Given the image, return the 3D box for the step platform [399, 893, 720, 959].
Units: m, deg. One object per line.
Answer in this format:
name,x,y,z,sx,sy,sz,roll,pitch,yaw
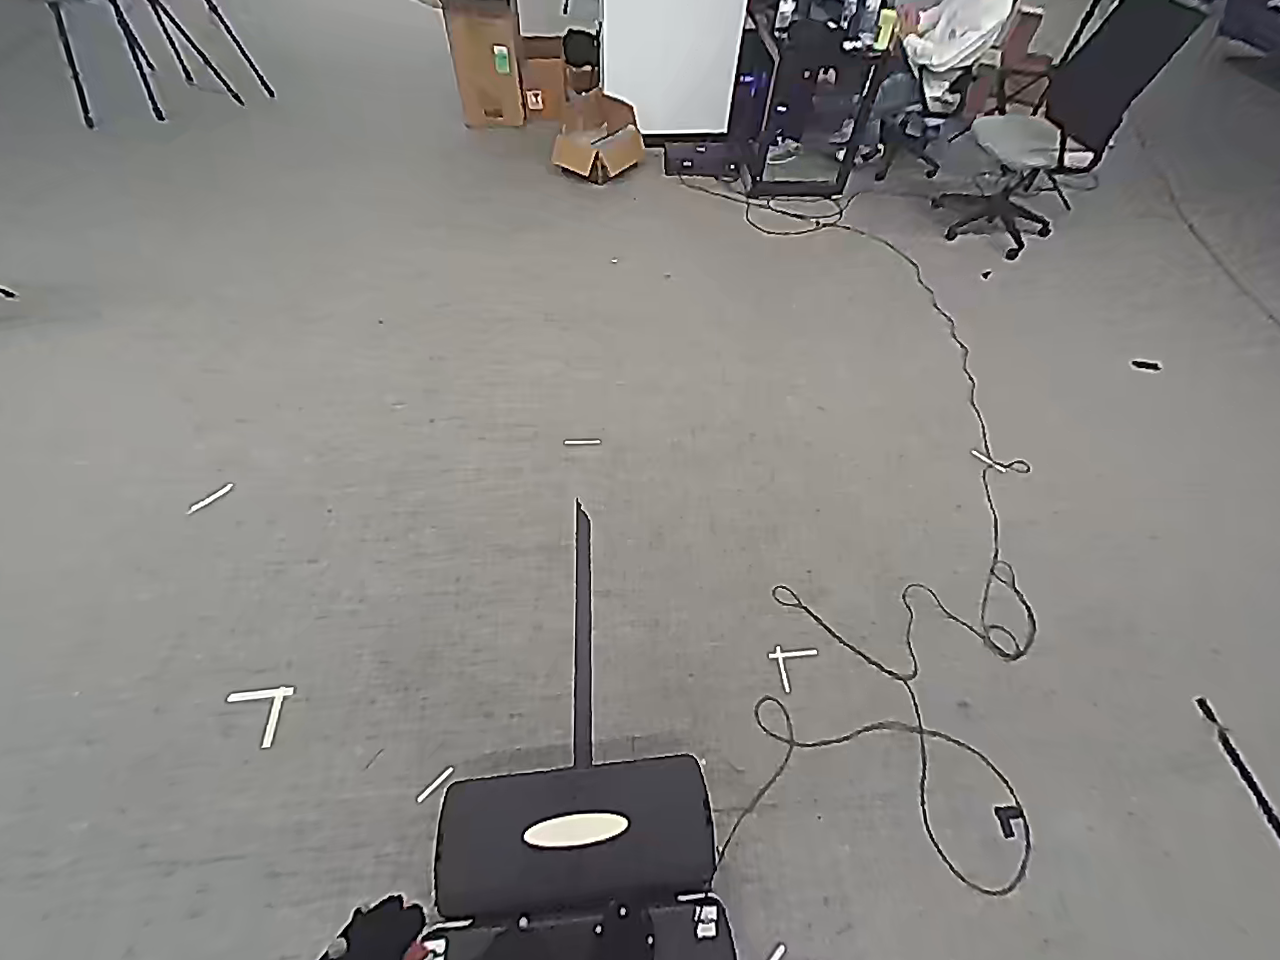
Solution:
step platform,-0.164,1.080,1.132,0.684,0.204,0.286,-4,55,-4
